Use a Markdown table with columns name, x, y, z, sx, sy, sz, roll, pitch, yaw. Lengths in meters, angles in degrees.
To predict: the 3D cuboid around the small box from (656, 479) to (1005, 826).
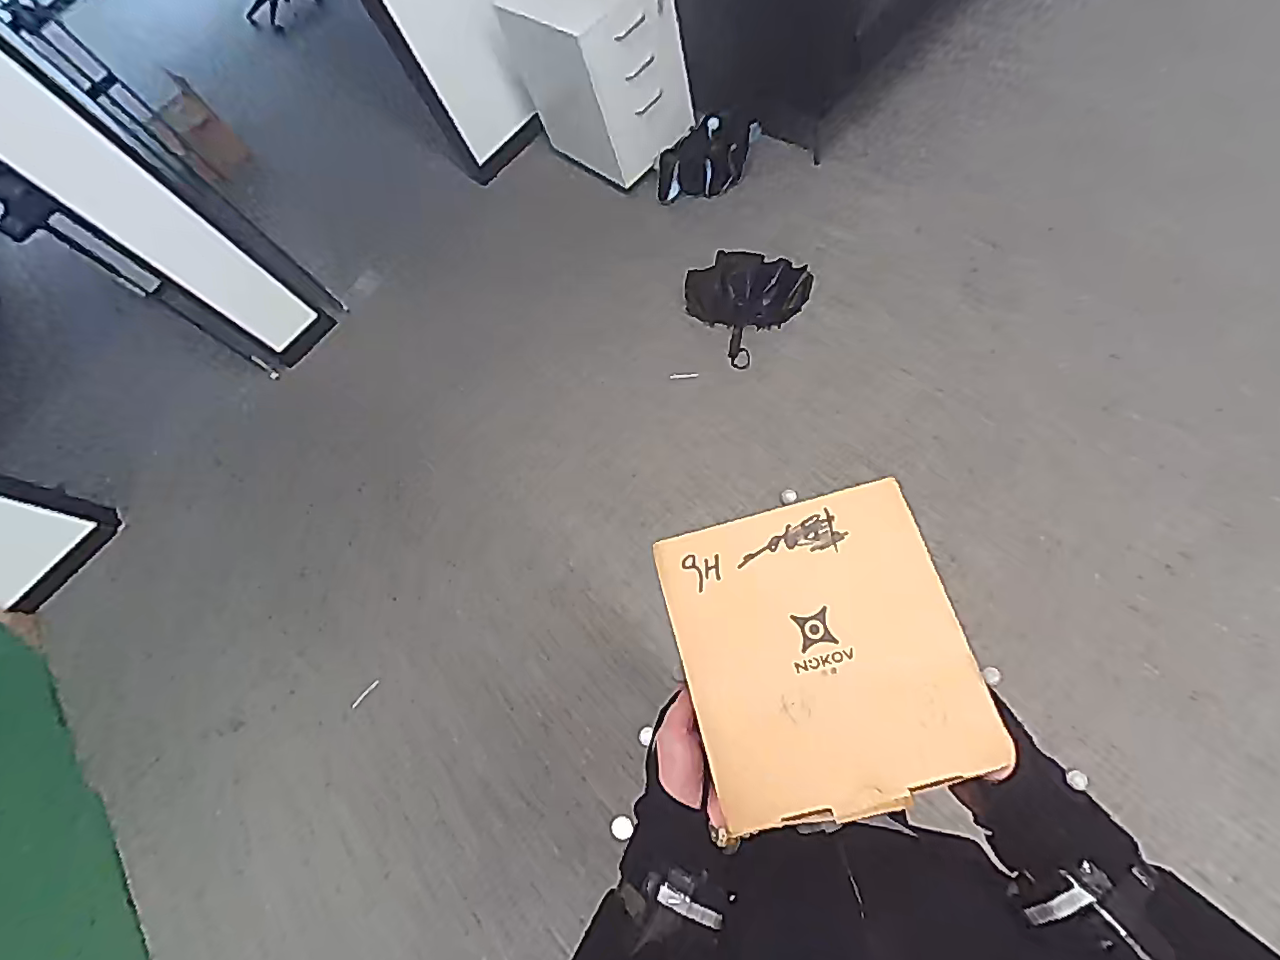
| name | x | y | z | sx | sy | sz | roll | pitch | yaw |
| --- | --- | --- | --- | --- | --- | --- | --- | --- | --- |
| small box | 0.117 | 0.119 | 0.405 | 0.168 | 0.176 | 0.179 | -15 | 73 | 3 |
